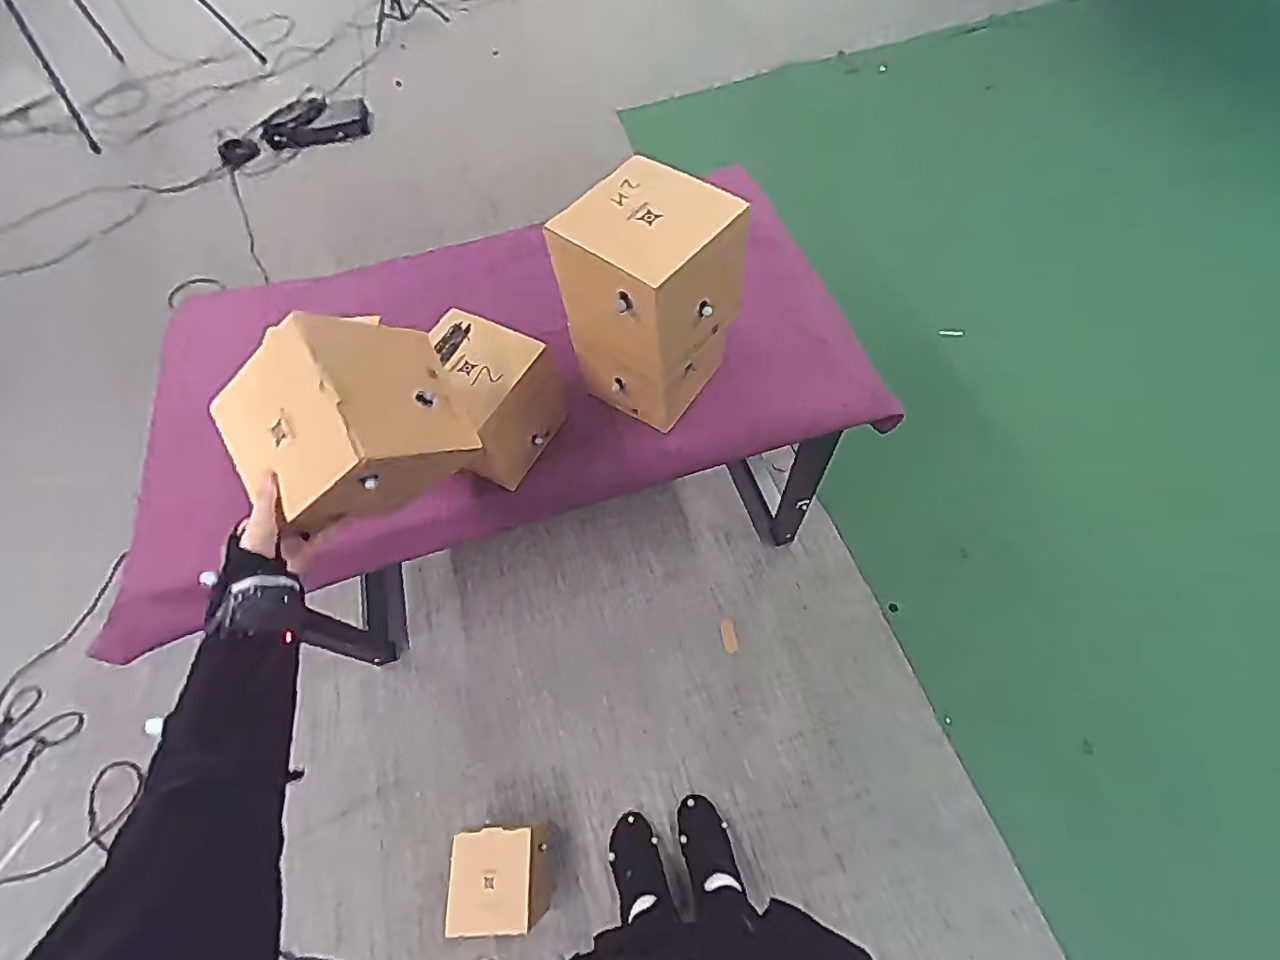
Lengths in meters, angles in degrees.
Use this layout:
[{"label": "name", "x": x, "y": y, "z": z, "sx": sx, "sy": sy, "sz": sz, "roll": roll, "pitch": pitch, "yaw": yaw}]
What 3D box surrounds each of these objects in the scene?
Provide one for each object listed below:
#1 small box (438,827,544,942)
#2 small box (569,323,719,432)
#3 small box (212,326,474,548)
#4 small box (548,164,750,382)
[{"label": "small box", "x": -0.304, "y": 0.840, "z": 1.139, "sx": 0.168, "sy": 0.176, "sz": 0.179, "roll": -4, "pitch": 62, "yaw": 3}, {"label": "small box", "x": 0.018, "y": -0.206, "z": 0.848, "sx": 0.168, "sy": 0.176, "sz": 0.179, "roll": 30, "pitch": 68, "yaw": 19}, {"label": "small box", "x": -0.326, "y": -0.046, "z": 0.612, "sx": 0.179, "sy": 0.176, "sz": 0.168, "roll": -33, "pitch": 83, "yaw": 25}, {"label": "small box", "x": 0.016, "y": -0.252, "z": 0.685, "sx": 0.179, "sy": 0.176, "sz": 0.168, "roll": 37, "pitch": 70, "yaw": 23}]
